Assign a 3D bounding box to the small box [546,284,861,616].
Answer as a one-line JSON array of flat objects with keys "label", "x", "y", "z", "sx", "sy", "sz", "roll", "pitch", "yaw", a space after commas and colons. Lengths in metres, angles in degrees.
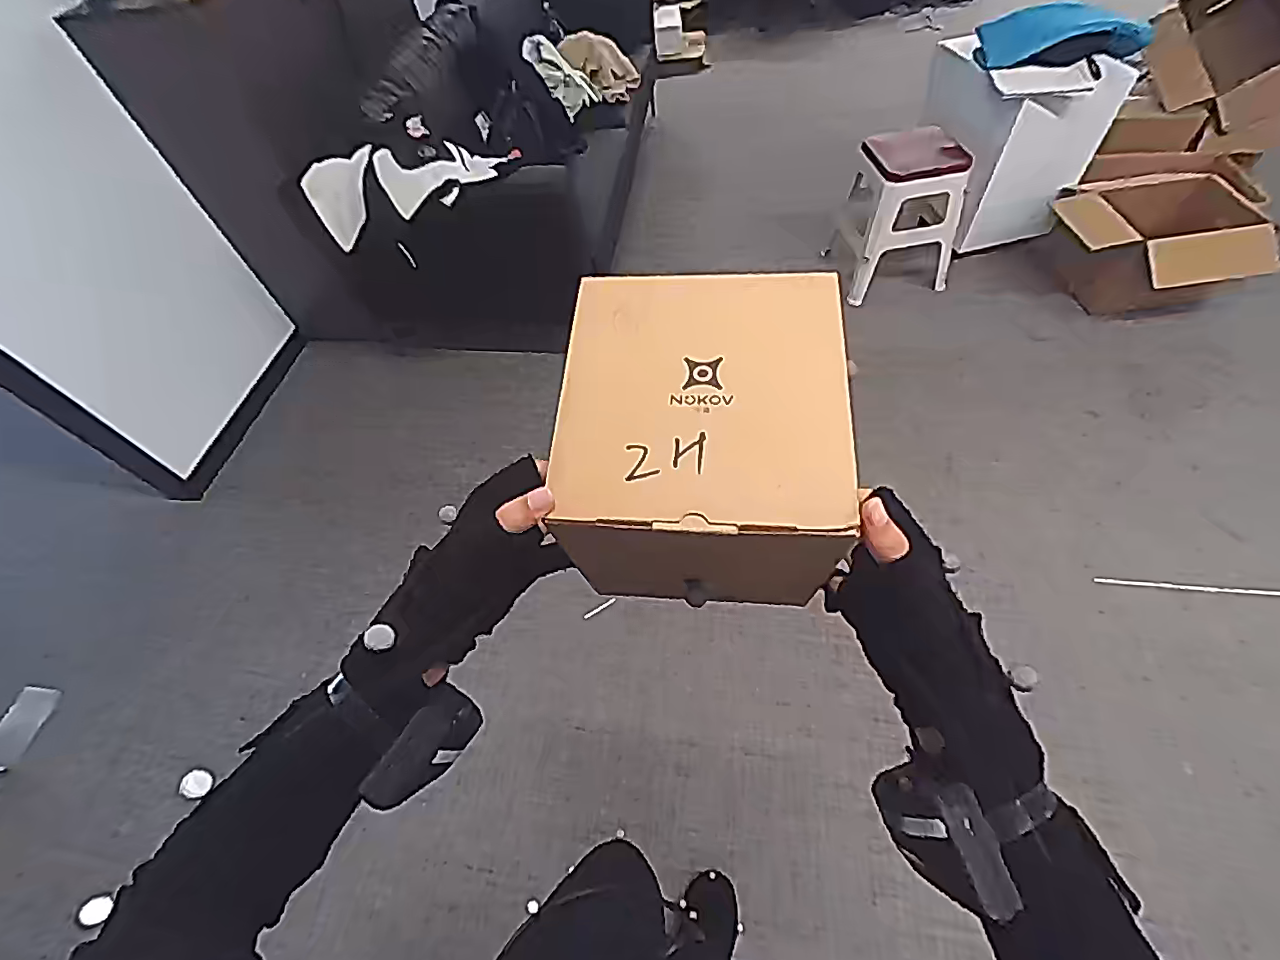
[{"label": "small box", "x": 0.045, "y": -0.014, "z": 0.385, "sx": 0.168, "sy": 0.176, "sz": 0.179, "roll": 2, "pitch": 64, "yaw": 8}]
